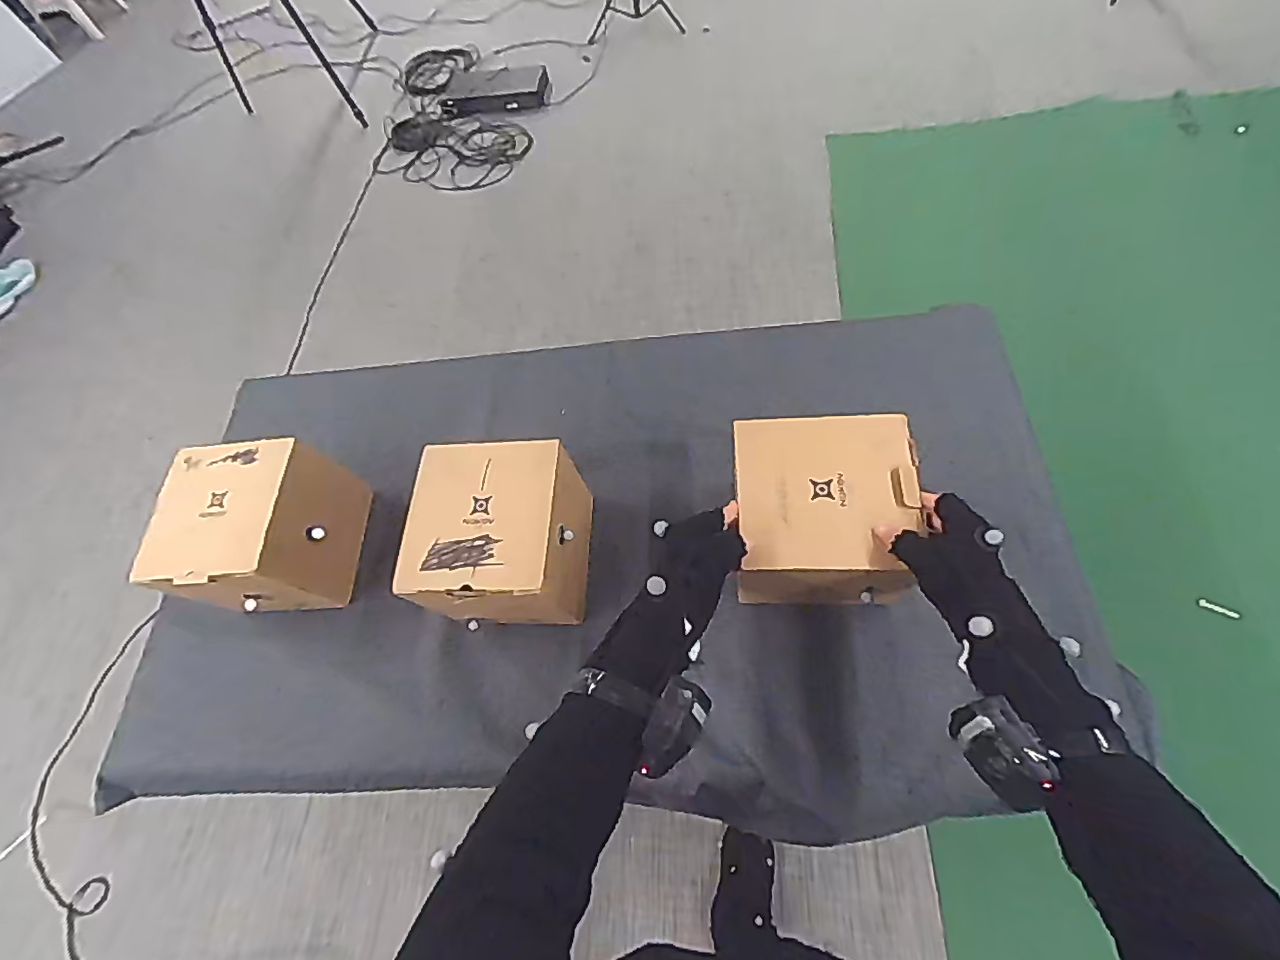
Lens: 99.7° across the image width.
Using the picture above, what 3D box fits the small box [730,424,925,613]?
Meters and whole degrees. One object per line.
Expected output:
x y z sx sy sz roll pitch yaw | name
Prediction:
0.195 0.052 0.614 0.179 0.176 0.168 -4 65 11 | small box

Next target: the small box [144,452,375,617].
-0.487 0.083 0.723 0.168 0.176 0.179 -5 64 8 | small box

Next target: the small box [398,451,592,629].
-0.161 0.082 0.664 0.168 0.176 0.179 -2 63 9 | small box
